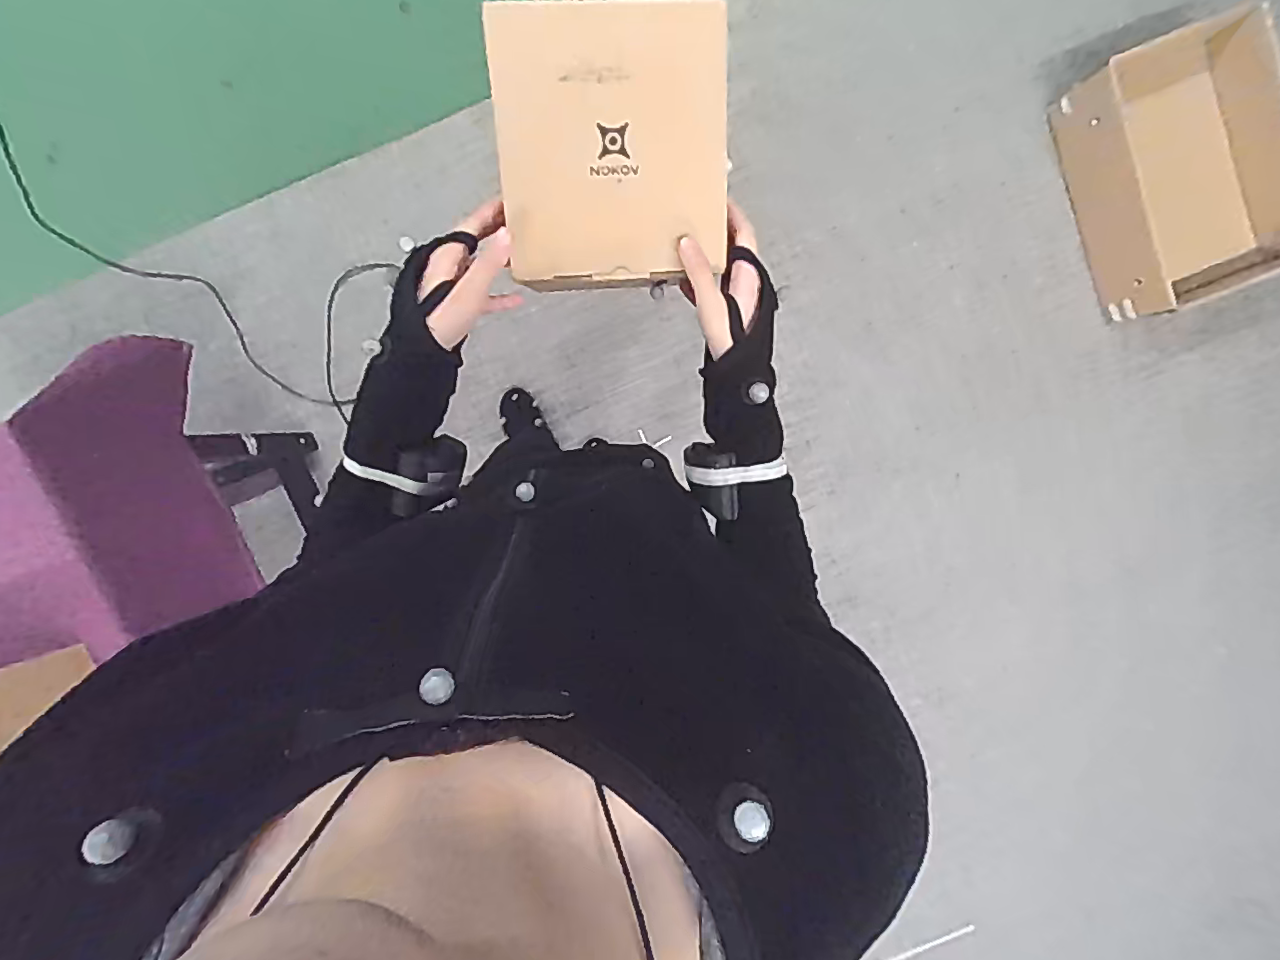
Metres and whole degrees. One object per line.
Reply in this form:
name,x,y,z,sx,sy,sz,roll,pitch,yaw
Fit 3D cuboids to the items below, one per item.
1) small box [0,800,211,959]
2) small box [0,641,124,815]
small box,-0.747,0.589,0.735,0.168,0.176,0.179,-24,96,2
small box,-0.854,0.335,0.706,0.179,0.176,0.168,-17,96,2
